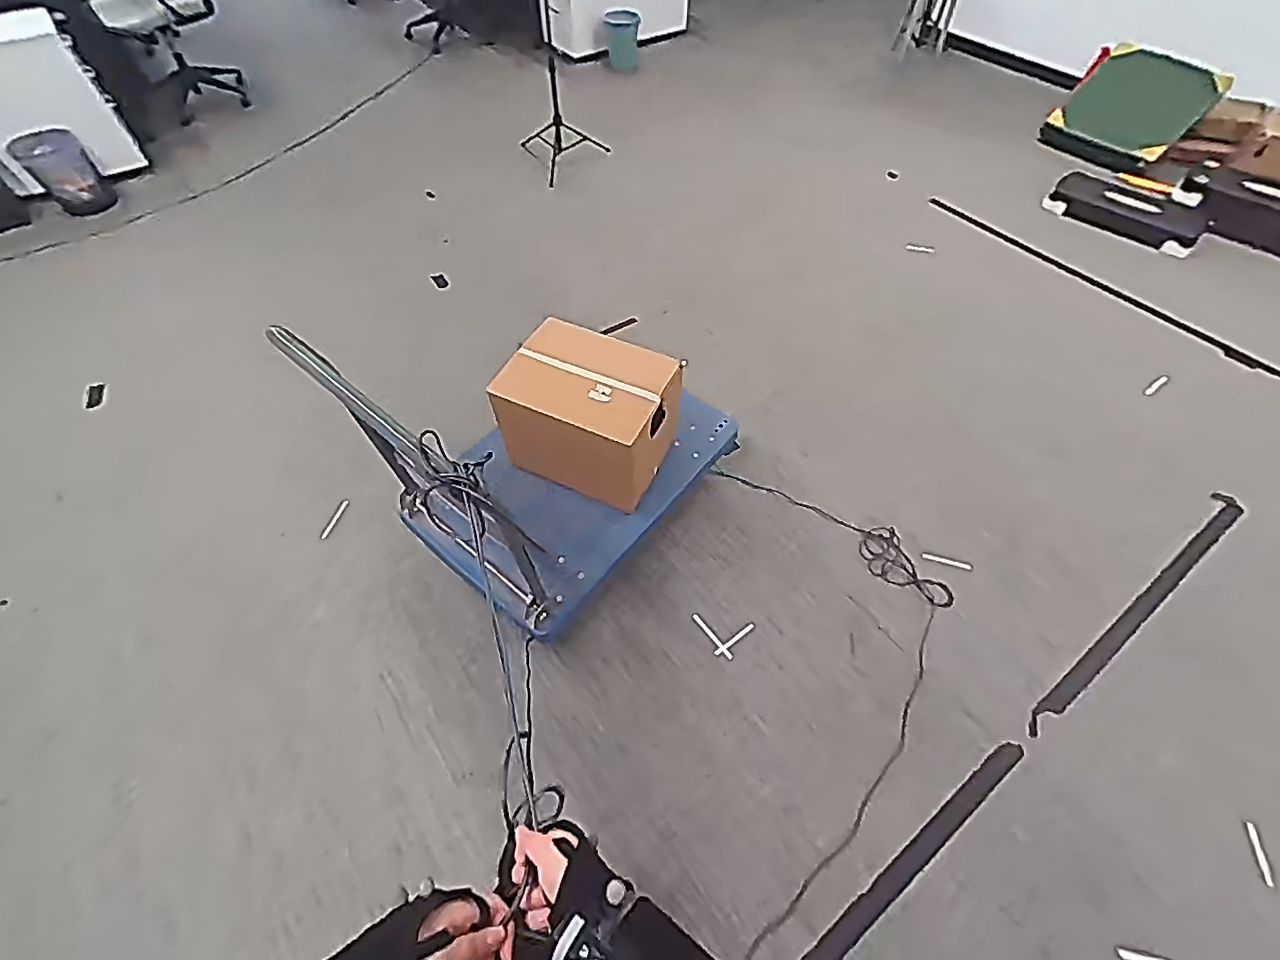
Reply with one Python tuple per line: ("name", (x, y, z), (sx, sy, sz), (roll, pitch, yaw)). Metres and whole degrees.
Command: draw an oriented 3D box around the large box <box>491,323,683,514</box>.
("large box", (-0.134, -0.167, 1.486), (0.408, 0.320, 0.320), (22, 58, 13))
